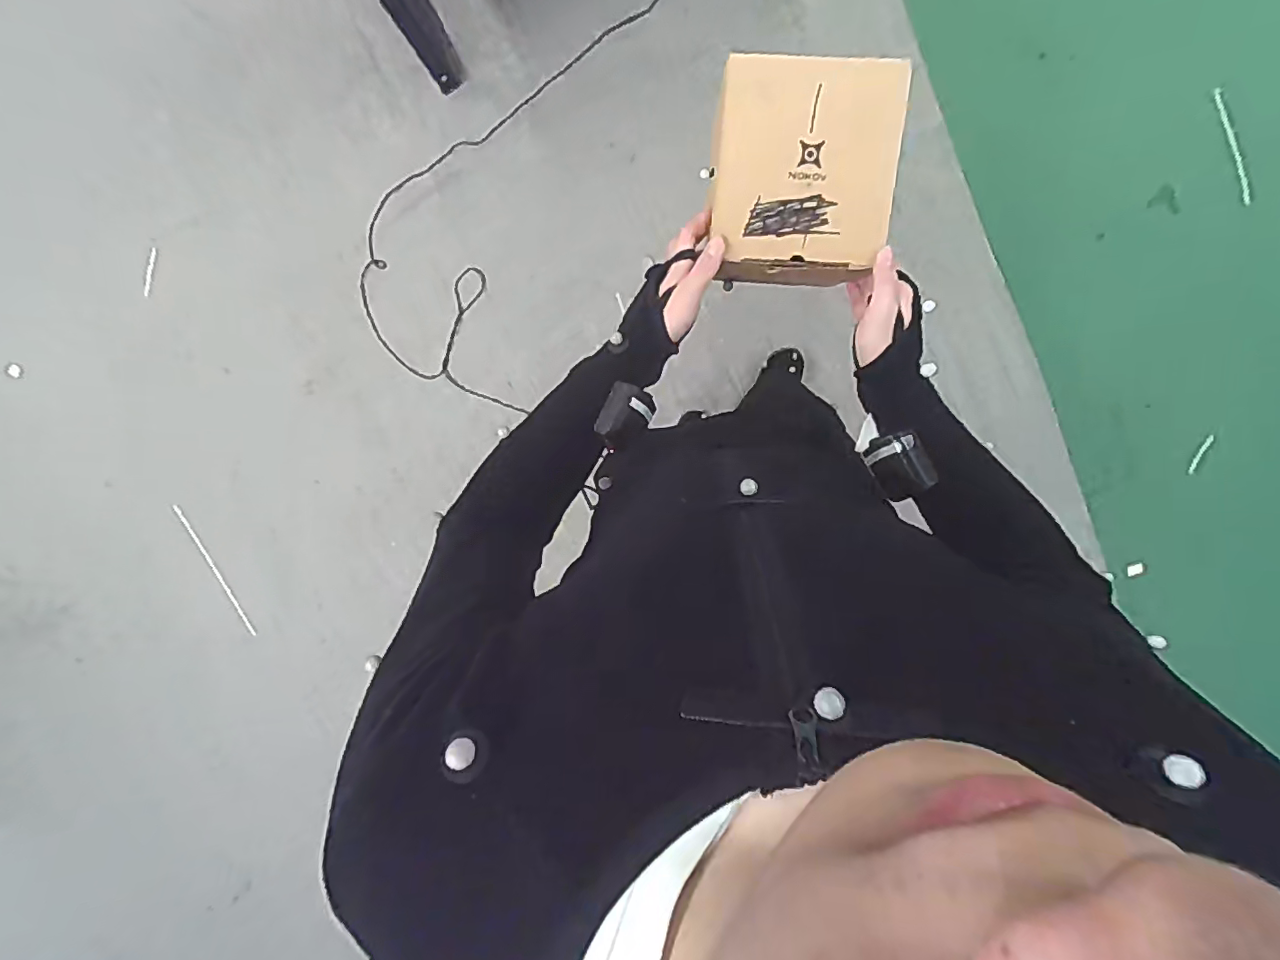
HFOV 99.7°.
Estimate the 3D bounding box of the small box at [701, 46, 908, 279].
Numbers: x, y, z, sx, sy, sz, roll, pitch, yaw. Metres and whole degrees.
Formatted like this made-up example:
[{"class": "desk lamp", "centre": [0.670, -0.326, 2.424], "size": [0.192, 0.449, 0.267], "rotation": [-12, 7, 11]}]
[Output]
[{"class": "small box", "centre": [0.155, -0.315, 0.574], "size": [0.168, 0.176, 0.179], "rotation": [2, 103, 2]}]
